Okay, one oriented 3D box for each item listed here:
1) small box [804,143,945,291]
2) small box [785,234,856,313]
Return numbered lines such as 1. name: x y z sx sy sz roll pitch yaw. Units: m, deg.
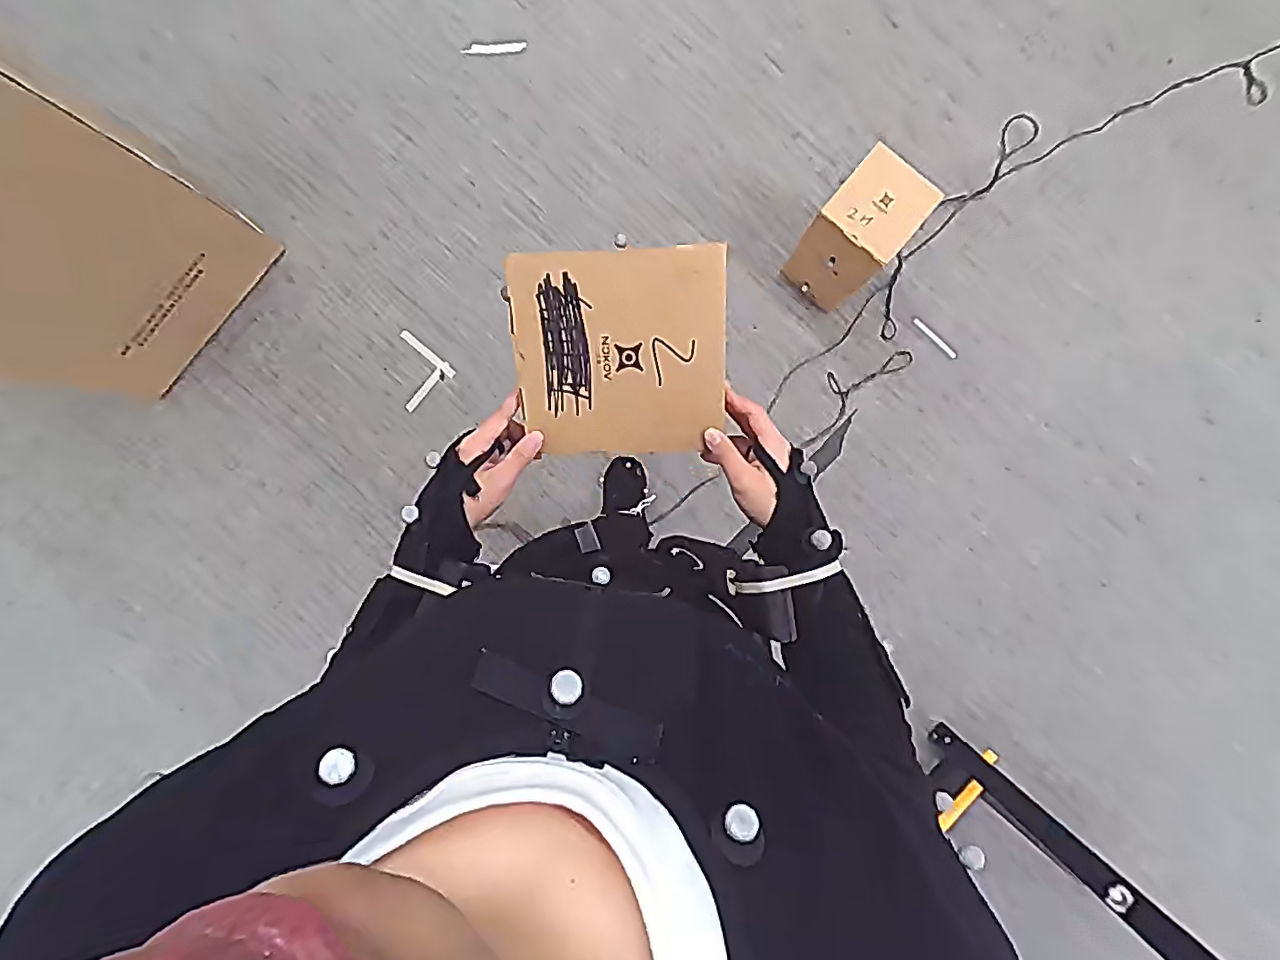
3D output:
1. small box: 0.464 -0.523 1.103 0.168 0.176 0.179 41 92 1
2. small box: 0.467 -0.527 1.268 0.168 0.176 0.179 42 92 0
